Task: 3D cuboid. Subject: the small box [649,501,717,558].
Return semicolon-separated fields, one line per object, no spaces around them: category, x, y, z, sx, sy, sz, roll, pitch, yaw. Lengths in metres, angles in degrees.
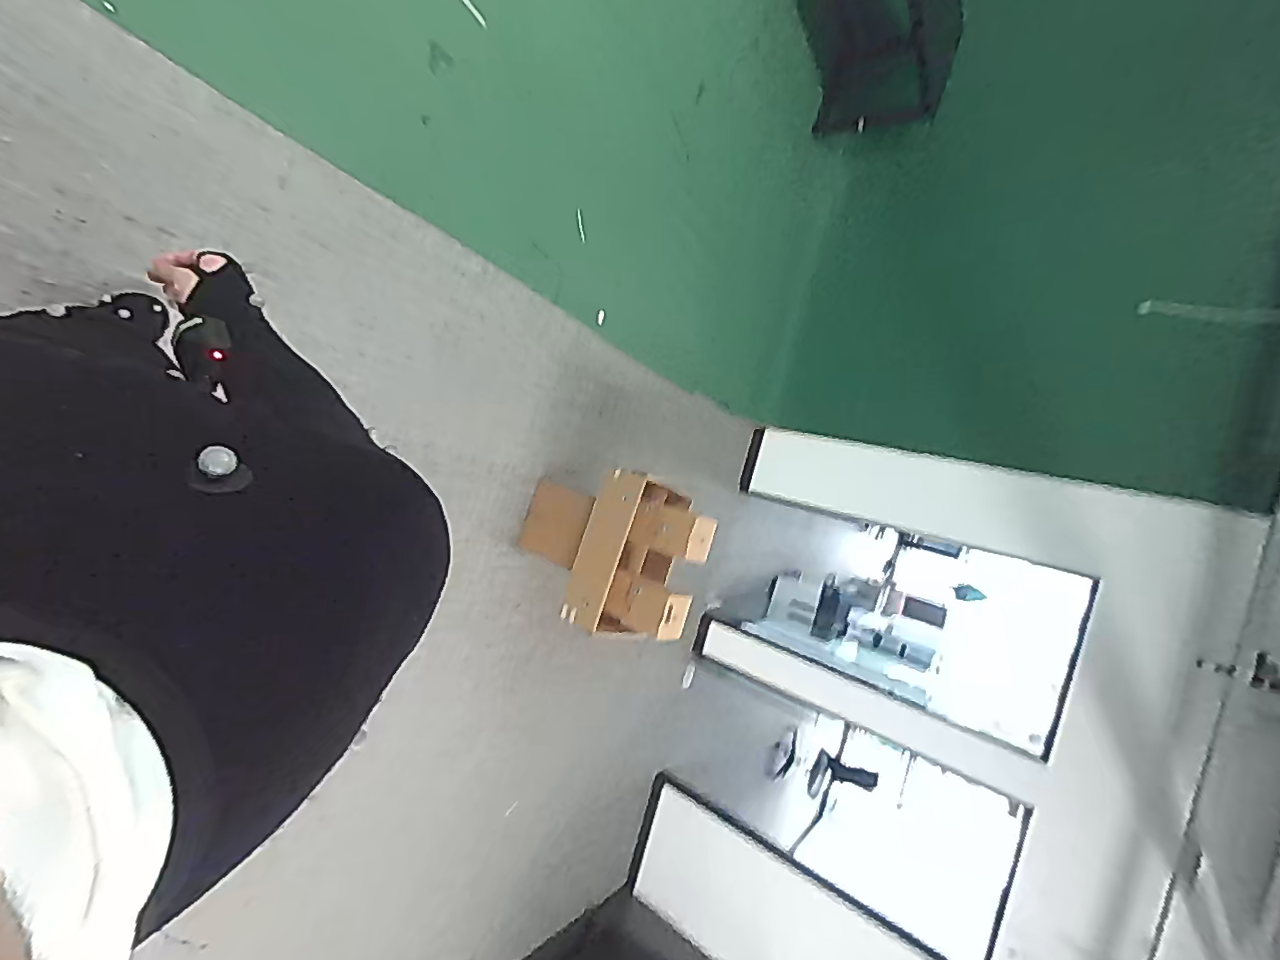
small box;0.162;0.186;2.035;0.179;0.176;0.168;21;85;-55

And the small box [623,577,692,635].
small box;0.064;0.466;2.012;0.179;0.176;0.168;20;88;-55

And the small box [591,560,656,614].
small box;-0.059;0.422;2.113;0.179;0.176;0.168;27;81;-53
